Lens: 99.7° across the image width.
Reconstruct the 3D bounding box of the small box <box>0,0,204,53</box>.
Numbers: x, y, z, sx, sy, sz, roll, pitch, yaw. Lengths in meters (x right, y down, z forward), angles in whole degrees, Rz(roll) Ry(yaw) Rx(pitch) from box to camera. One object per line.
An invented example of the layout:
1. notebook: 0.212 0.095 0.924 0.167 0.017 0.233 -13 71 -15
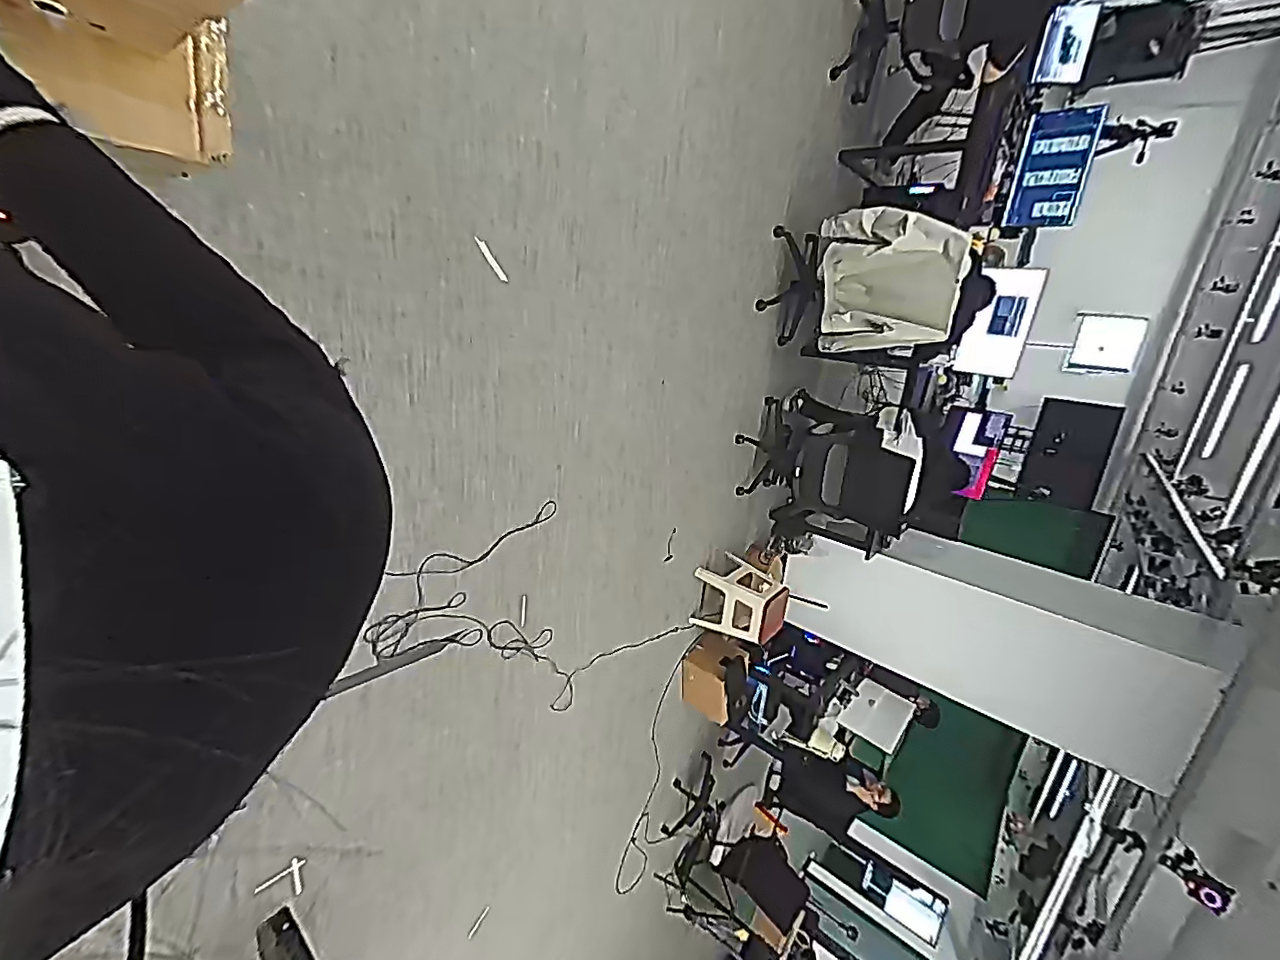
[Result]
1. small box: -0.520 -0.530 0.484 0.168 0.176 0.179 -11 116 -47
